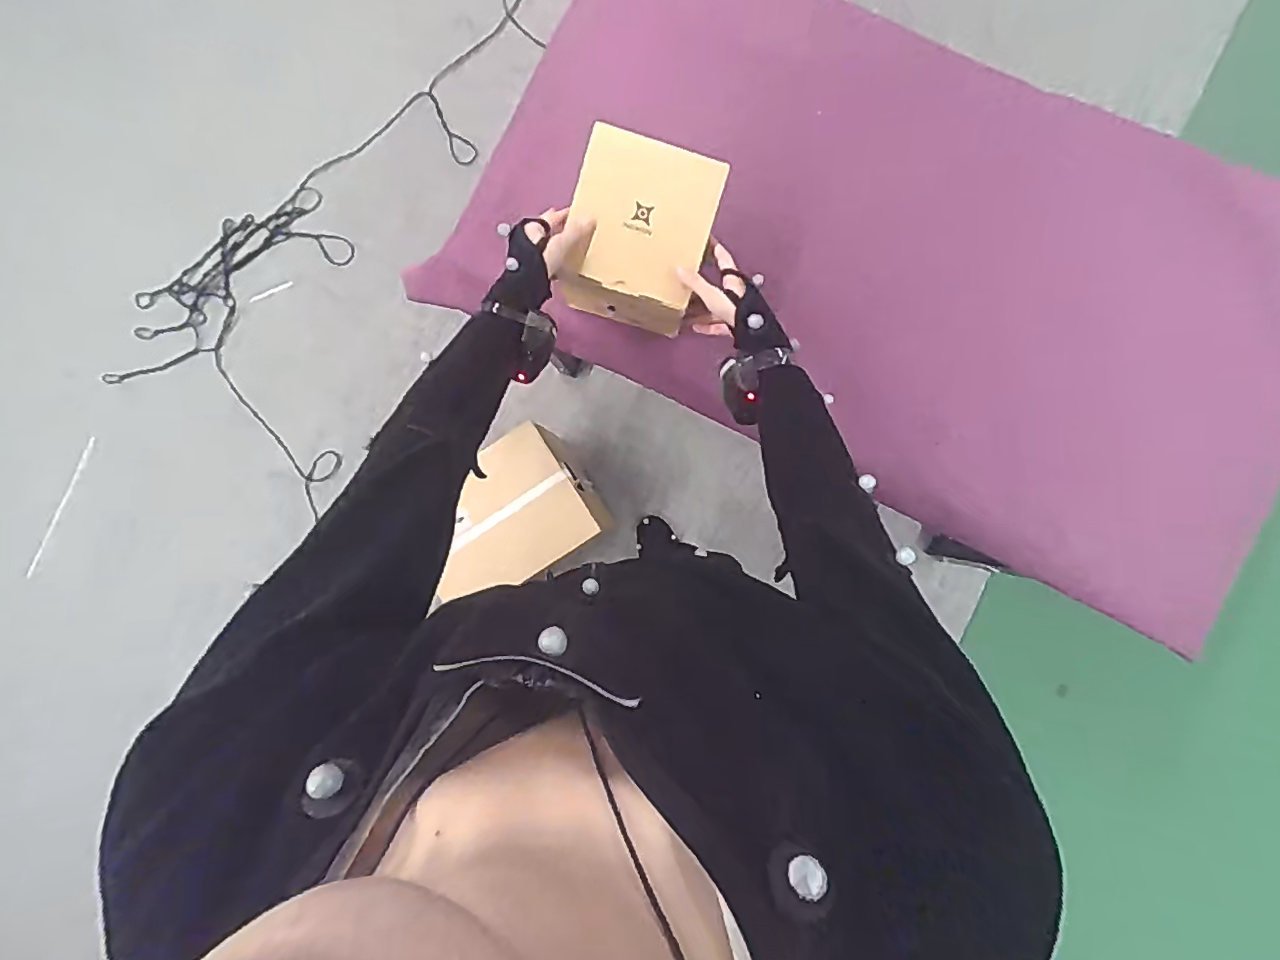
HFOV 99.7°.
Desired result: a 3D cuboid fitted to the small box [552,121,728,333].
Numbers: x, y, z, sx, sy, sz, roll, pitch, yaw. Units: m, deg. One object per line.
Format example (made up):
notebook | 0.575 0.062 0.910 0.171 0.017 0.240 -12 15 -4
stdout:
small box | -0.003 -0.308 0.699 0.168 0.176 0.179 17 96 -3
